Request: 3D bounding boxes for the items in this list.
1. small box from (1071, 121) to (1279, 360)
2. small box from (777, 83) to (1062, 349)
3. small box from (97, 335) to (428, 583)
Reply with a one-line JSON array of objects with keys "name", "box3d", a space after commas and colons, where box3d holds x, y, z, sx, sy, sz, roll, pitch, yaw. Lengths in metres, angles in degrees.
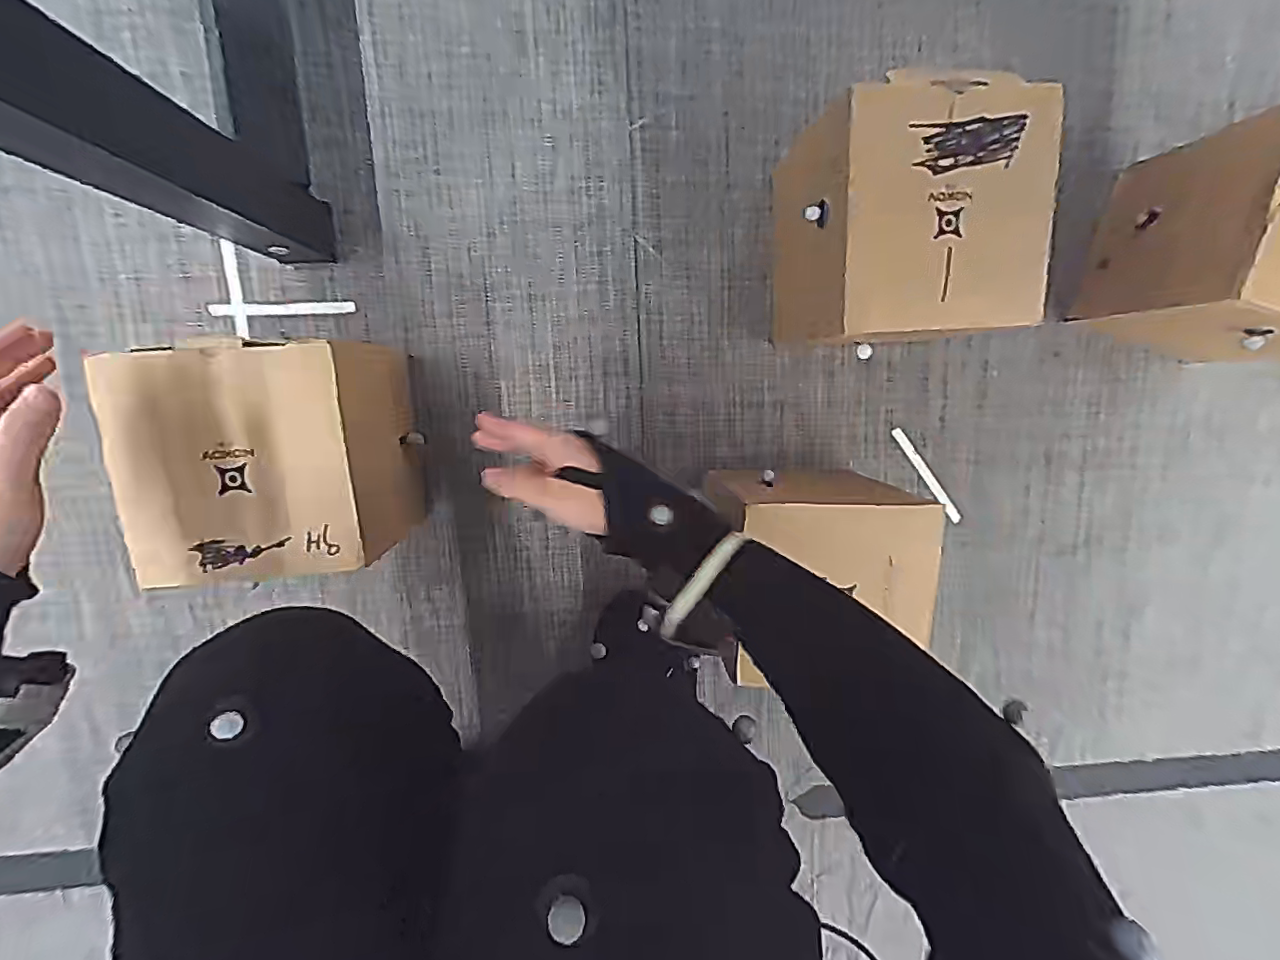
[{"name": "small box", "box3d": [0.583, -0.217, 0.519, 0.179, 0.176, 0.168, 14, 98, -6]}, {"name": "small box", "box3d": [0.228, -0.216, 0.486, 0.168, 0.176, 0.179, -3, 100, -4]}, {"name": "small box", "box3d": [-0.299, -0.025, 0.472, 0.168, 0.176, 0.179, -4, 99, -4]}]
